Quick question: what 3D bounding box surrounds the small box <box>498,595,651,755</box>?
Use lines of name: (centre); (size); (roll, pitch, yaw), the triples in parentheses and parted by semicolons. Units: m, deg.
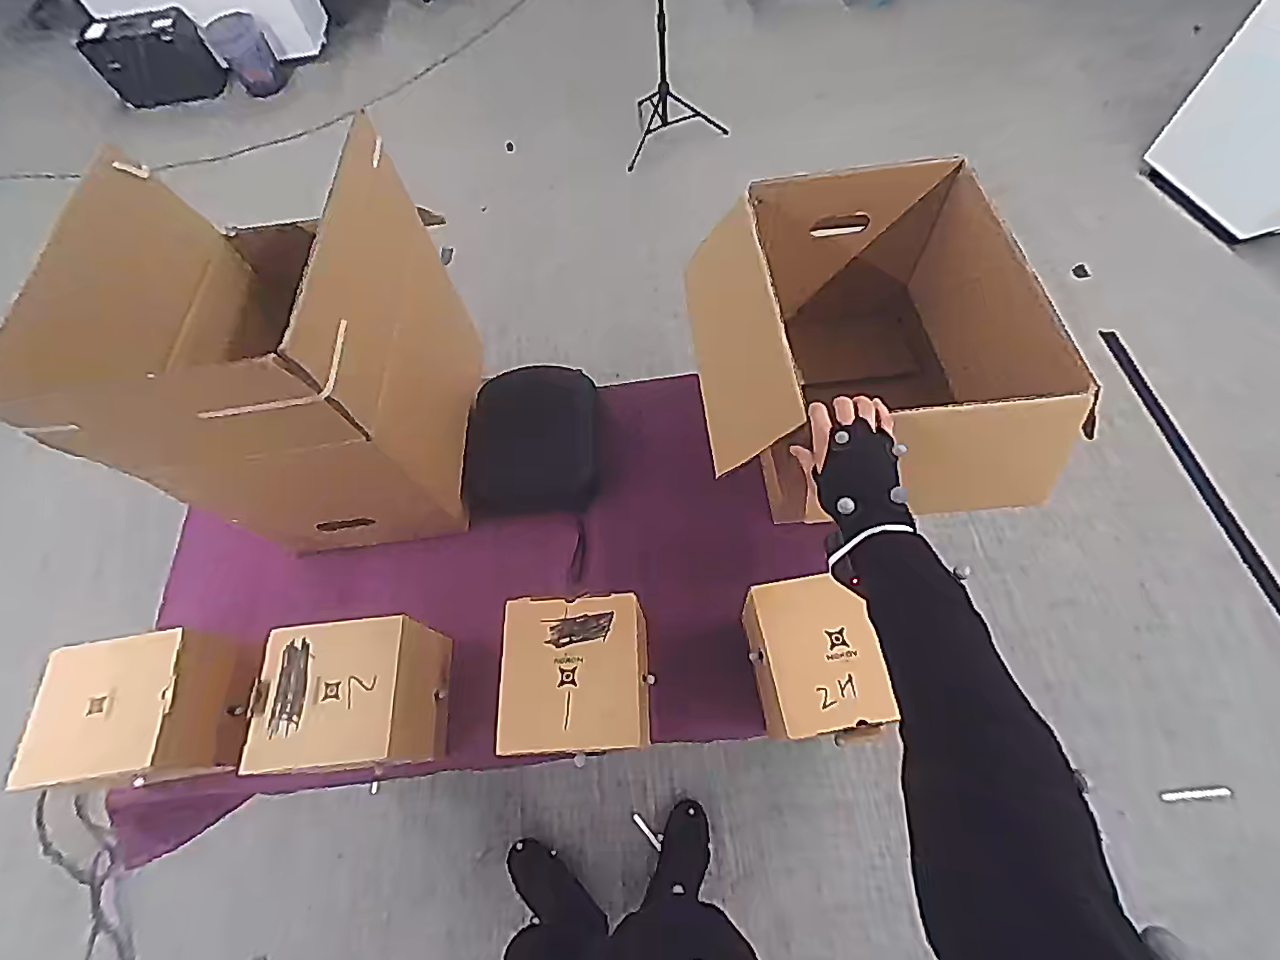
small box: (-0.075, 0.260, 0.710); (0.168, 0.176, 0.179); (-4, 64, 4)

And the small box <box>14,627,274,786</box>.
small box: (-0.652, 0.313, 0.739); (0.179, 0.176, 0.168); (-9, 63, -1)

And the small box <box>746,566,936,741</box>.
small box: (0.237, 0.228, 0.694); (0.168, 0.176, 0.179); (-10, 63, 2)
